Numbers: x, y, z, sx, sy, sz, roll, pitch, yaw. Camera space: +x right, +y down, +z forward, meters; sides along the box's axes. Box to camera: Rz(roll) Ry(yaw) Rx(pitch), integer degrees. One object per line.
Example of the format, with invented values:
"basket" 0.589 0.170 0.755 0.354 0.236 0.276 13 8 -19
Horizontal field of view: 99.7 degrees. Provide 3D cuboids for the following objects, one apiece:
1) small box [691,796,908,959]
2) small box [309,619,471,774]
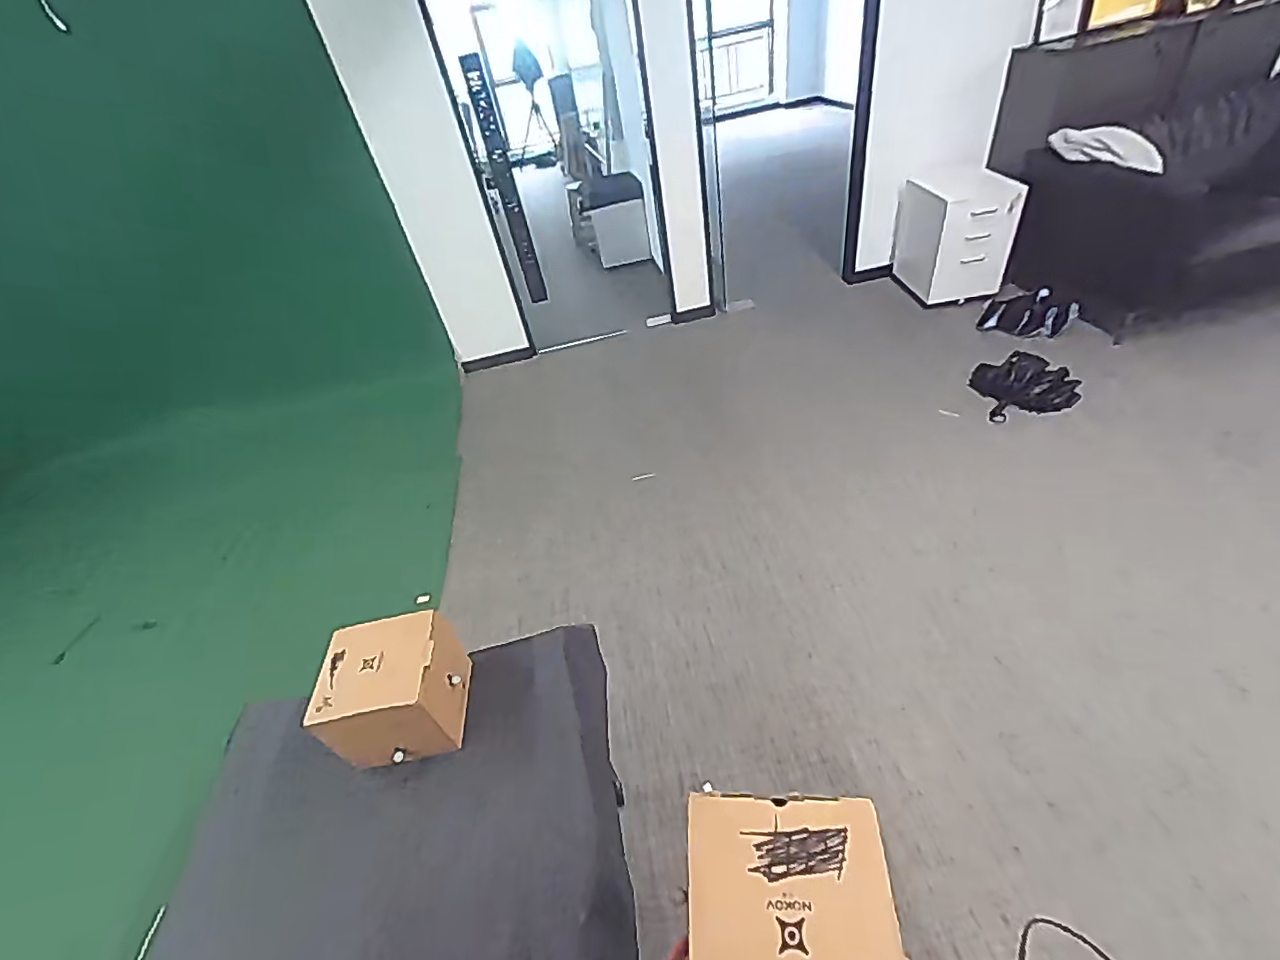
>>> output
"small box" 0.133 0.407 0.500 0.168 0.176 0.179 -1 53 4
"small box" -0.395 0.359 0.895 0.179 0.176 0.168 -11 41 0
